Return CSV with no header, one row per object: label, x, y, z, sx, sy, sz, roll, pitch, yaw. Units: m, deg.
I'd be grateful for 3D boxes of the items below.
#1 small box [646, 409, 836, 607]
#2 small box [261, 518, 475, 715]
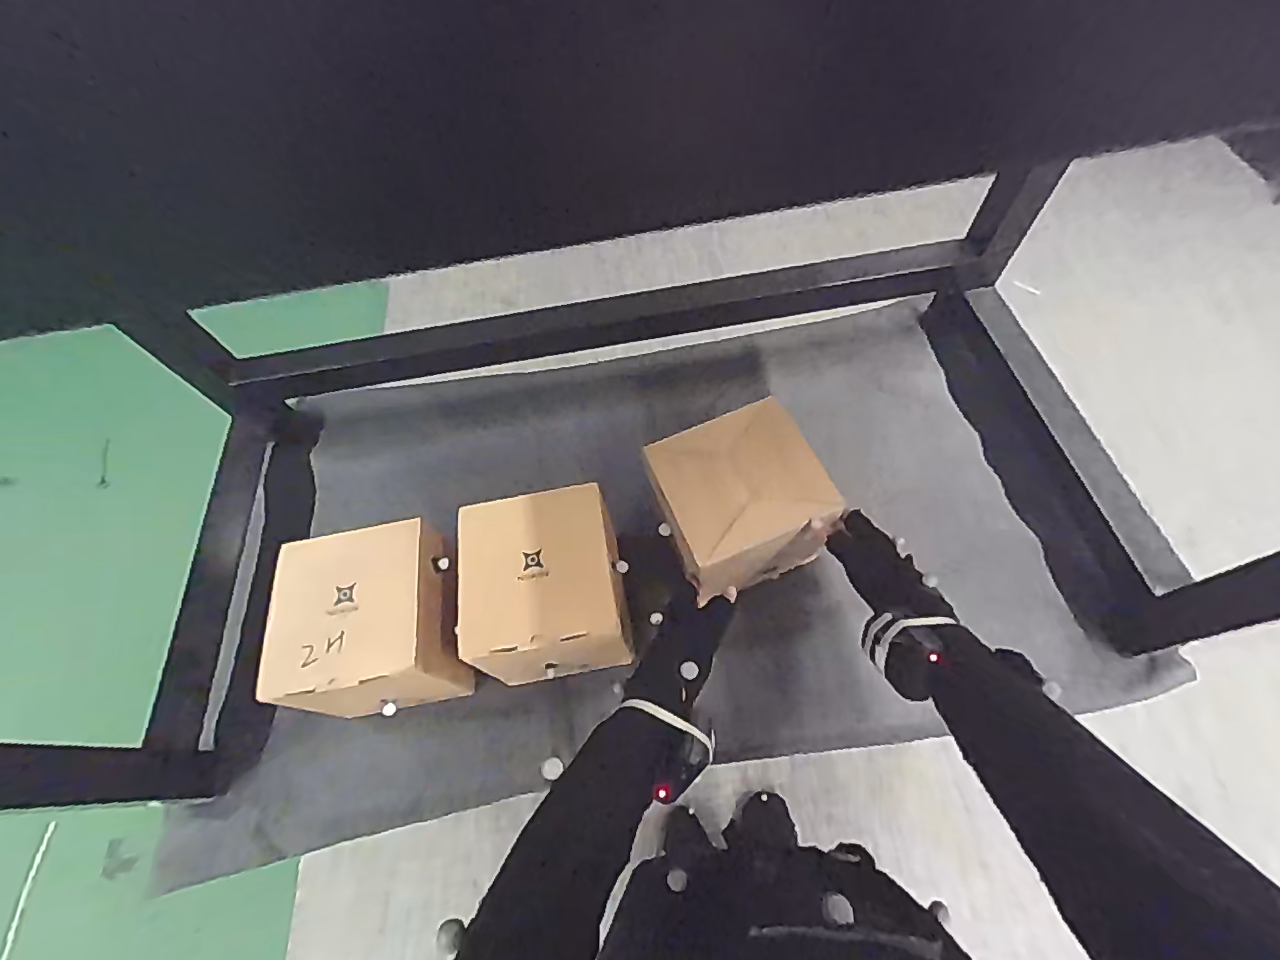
small box,0.120,0.035,0.684,0.179,0.176,0.168,-22,61,-6
small box,-0.308,0.170,0.655,0.168,0.176,0.179,-11,60,0
